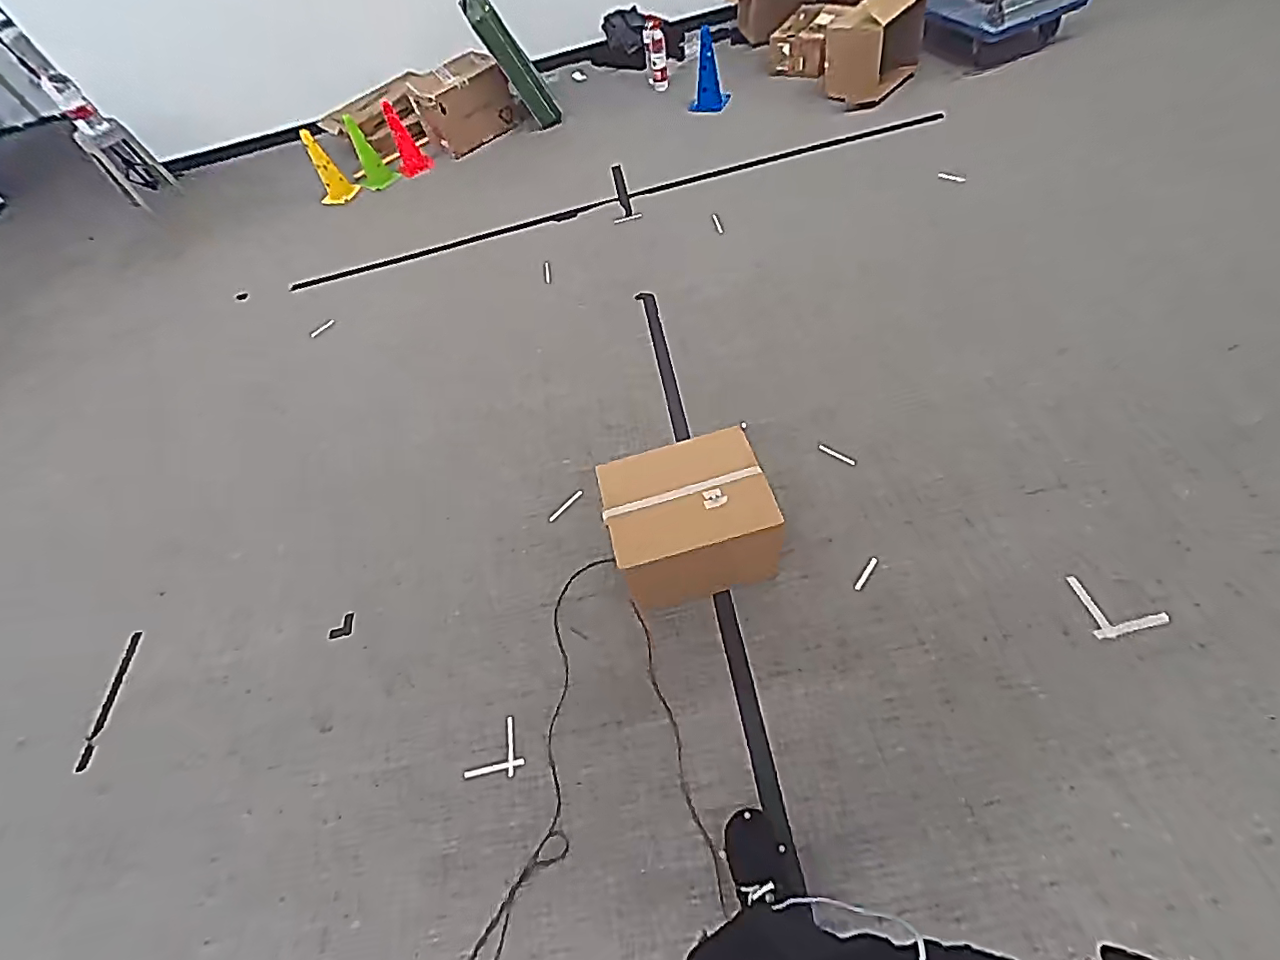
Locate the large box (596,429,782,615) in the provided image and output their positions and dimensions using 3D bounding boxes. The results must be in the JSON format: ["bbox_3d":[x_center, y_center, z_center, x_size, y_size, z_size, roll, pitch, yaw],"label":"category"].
[{"bbox_3d":[0.128,0.123,1.458,0.408,0.320,0.320,-16,56,0],"label":"large box"}]
